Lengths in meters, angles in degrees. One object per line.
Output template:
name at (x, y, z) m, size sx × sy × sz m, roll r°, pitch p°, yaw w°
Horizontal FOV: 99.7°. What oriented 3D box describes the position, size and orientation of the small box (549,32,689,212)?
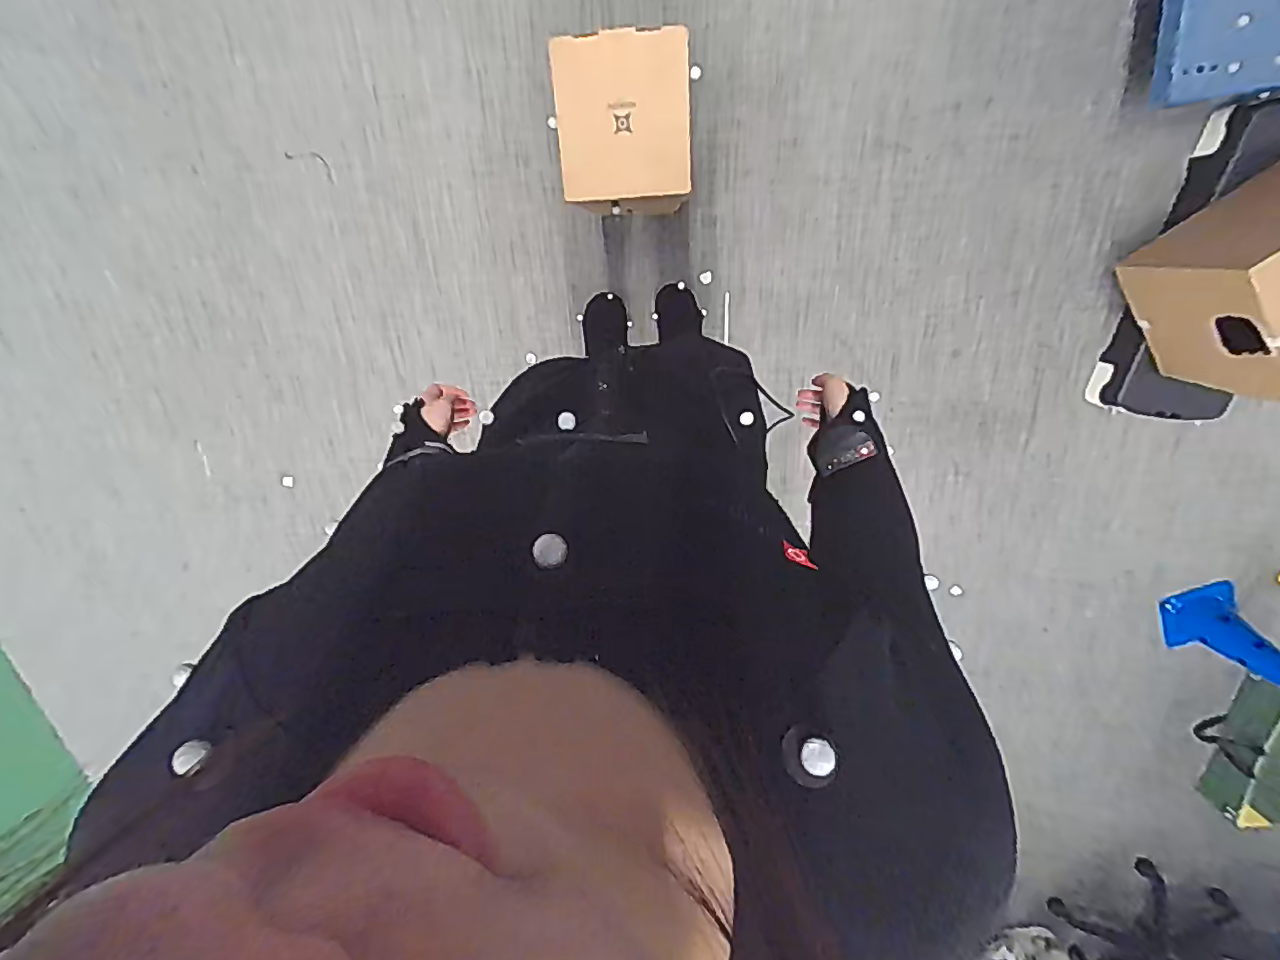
small box at (-0.017, -0.466, 0.733) m, size 0.168 × 0.176 × 0.179 m, roll -3°, pitch 113°, yaw 4°
